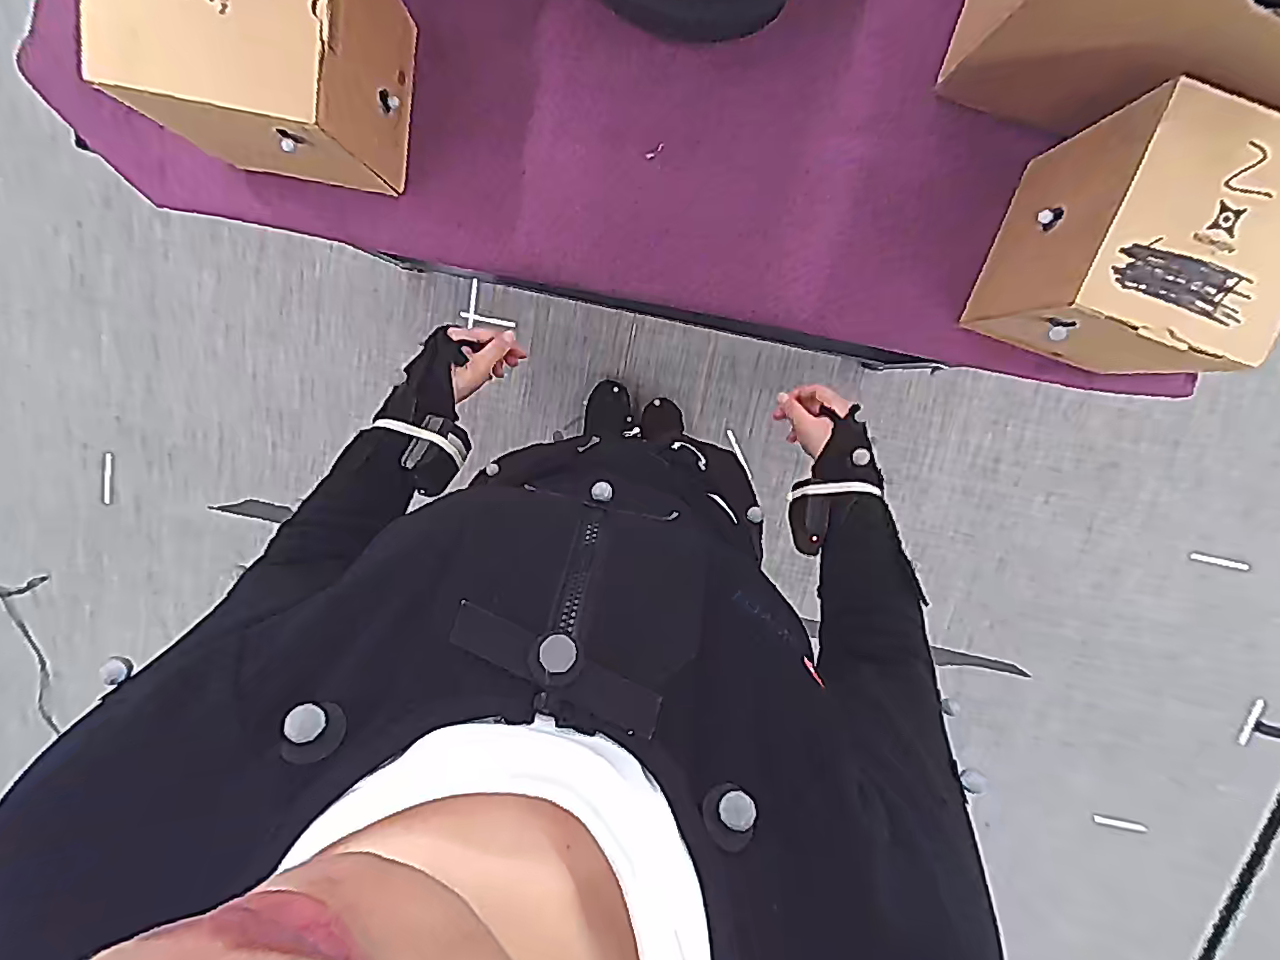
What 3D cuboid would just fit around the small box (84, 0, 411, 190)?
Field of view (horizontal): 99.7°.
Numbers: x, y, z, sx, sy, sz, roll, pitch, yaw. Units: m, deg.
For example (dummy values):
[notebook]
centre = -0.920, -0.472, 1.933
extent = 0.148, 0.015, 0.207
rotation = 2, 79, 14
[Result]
[small box]
centre = -0.330, -0.385, 0.485
extent = 0.179, 0.176, 0.168
rotation = 8, 100, -5
